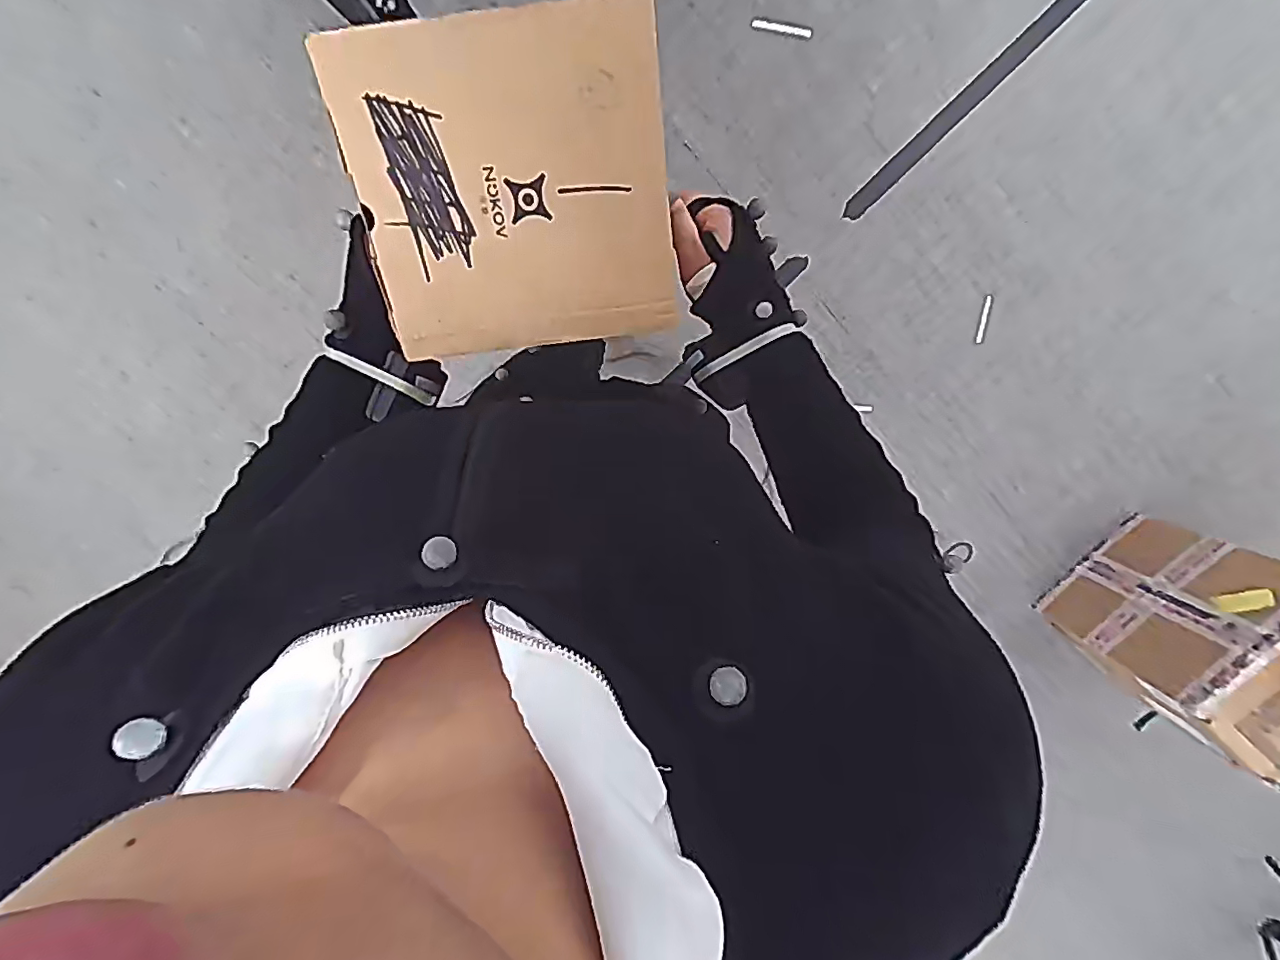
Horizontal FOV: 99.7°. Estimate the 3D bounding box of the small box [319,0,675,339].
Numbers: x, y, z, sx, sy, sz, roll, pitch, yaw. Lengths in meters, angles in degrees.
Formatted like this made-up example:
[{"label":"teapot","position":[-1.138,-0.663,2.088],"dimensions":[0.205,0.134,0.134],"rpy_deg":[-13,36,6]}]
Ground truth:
[{"label":"small box","position":[-0.073,-0.206,0.379],"dimensions":[0.179,0.176,0.168],"rpy_deg":[-7,118,1]}]
